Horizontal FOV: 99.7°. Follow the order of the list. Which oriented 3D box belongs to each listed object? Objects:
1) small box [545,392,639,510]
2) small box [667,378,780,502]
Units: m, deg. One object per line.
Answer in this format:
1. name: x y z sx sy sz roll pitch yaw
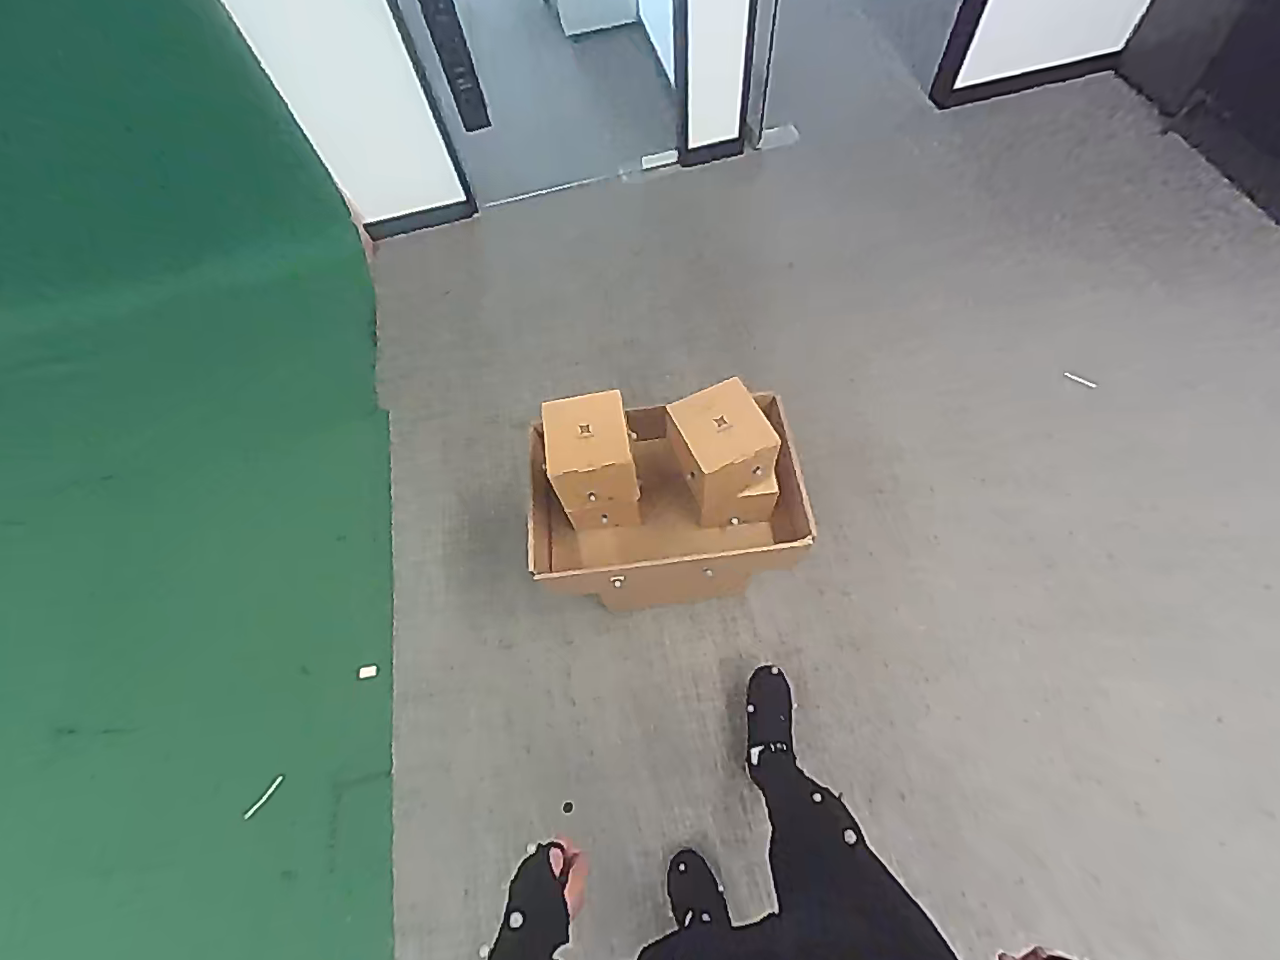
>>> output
1. small box: -0.098 -0.057 1.143 0.168 0.176 0.179 -10 62 0
2. small box: 0.169 -0.072 1.120 0.168 0.176 0.179 -23 62 -6
